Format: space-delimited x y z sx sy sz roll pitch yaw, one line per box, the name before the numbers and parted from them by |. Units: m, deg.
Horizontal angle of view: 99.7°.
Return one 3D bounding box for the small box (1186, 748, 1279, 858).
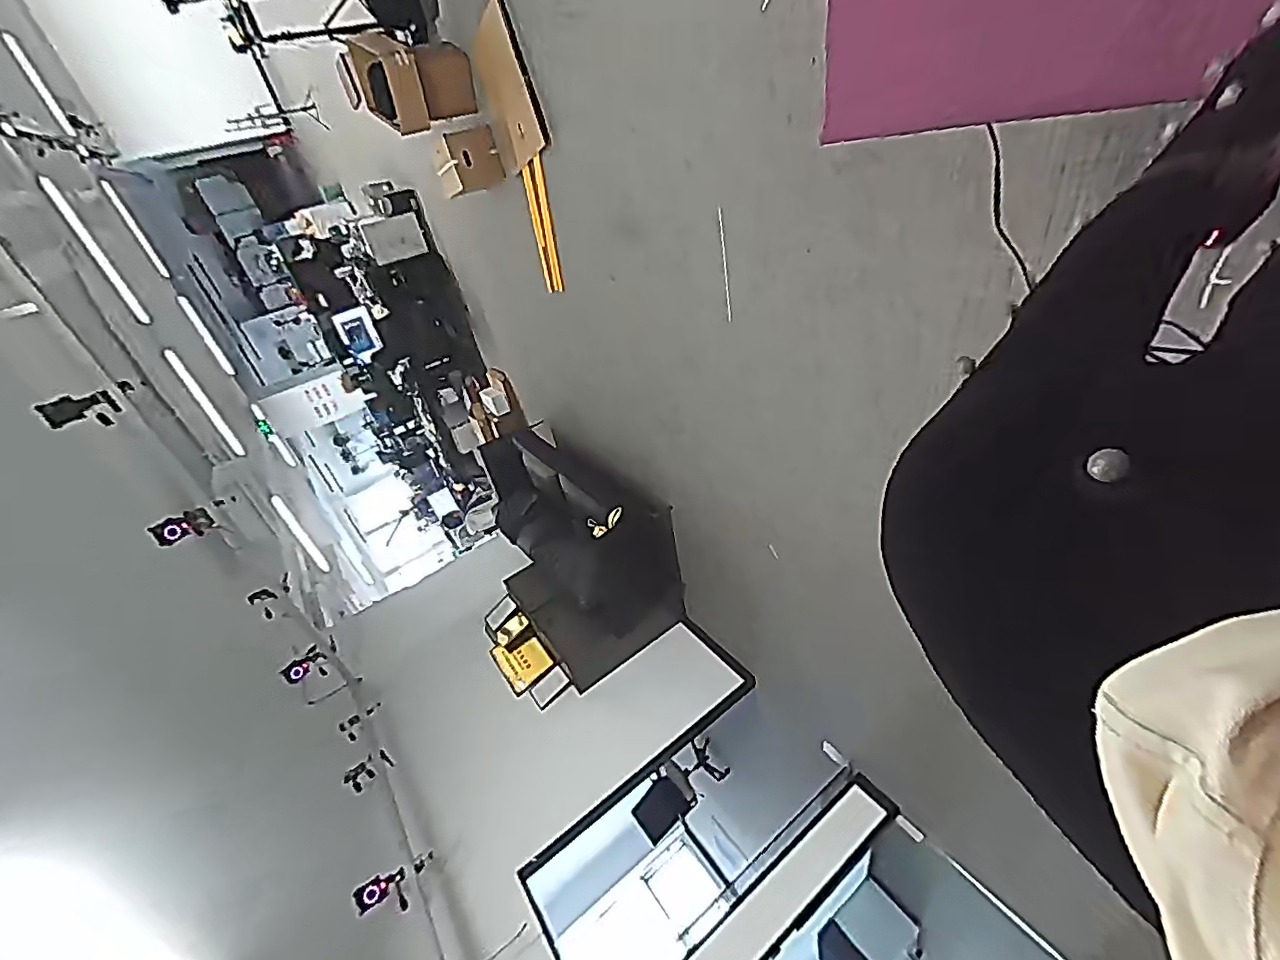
small box | 1.694 0.894 1.506 0.168 0.176 0.179 35 148 45
